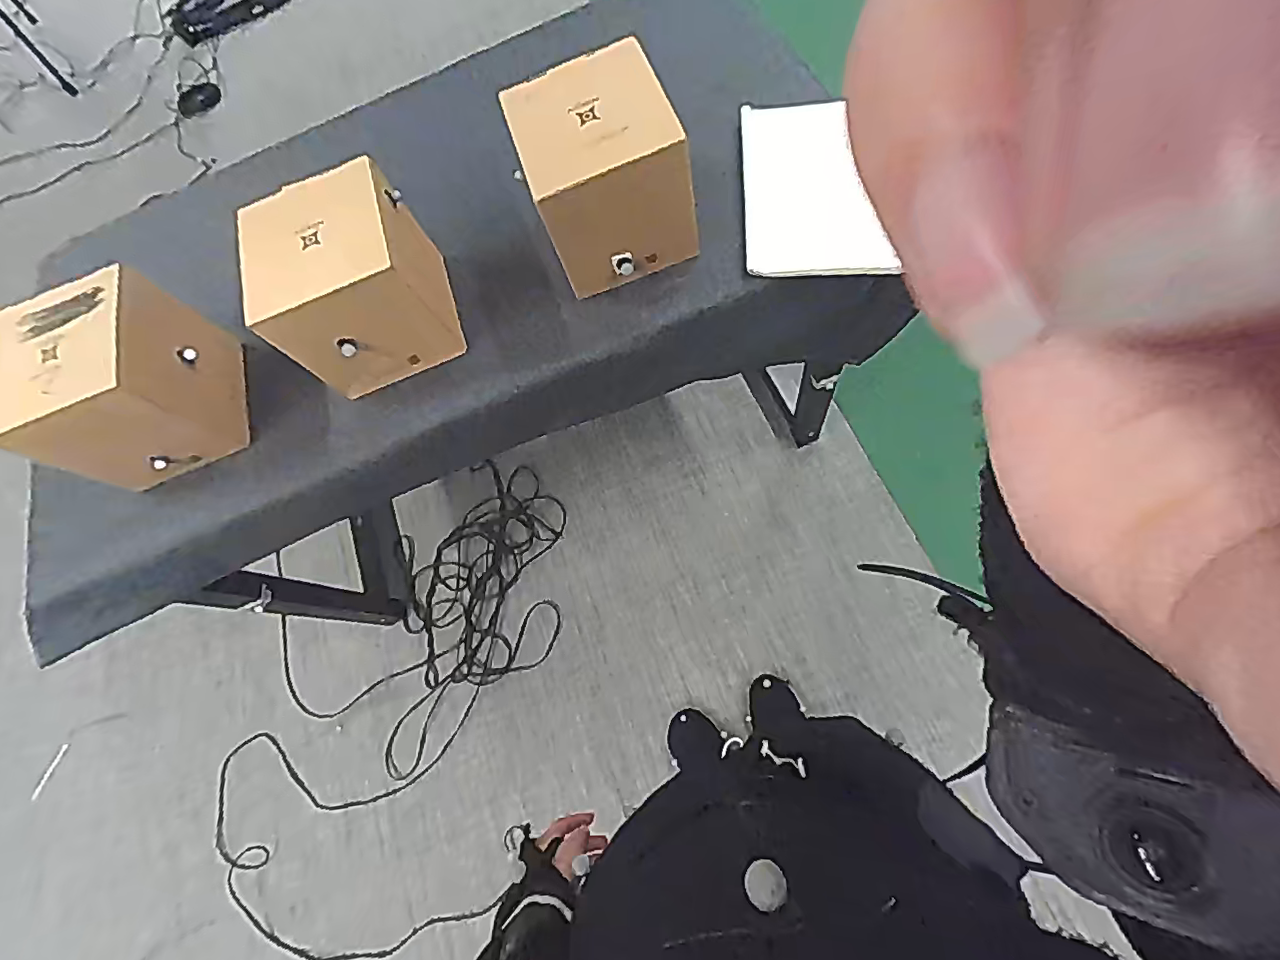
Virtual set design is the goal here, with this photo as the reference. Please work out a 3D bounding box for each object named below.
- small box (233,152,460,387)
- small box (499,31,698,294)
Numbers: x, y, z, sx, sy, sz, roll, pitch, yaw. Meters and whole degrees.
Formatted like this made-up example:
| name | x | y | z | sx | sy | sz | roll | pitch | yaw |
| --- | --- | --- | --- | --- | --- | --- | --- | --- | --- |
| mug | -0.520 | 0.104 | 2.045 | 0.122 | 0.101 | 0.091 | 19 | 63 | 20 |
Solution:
| name | x | y | z | sx | sy | sz | roll | pitch | yaw |
| --- | --- | --- | --- | --- | --- | --- | --- | --- | --- |
| small box | -0.337 | -0.233 | 0.644 | 0.168 | 0.176 | 0.179 | -22 | 68 | 3 |
| small box | -0.040 | -0.357 | 0.633 | 0.168 | 0.176 | 0.179 | -21 | 70 | 4 |
